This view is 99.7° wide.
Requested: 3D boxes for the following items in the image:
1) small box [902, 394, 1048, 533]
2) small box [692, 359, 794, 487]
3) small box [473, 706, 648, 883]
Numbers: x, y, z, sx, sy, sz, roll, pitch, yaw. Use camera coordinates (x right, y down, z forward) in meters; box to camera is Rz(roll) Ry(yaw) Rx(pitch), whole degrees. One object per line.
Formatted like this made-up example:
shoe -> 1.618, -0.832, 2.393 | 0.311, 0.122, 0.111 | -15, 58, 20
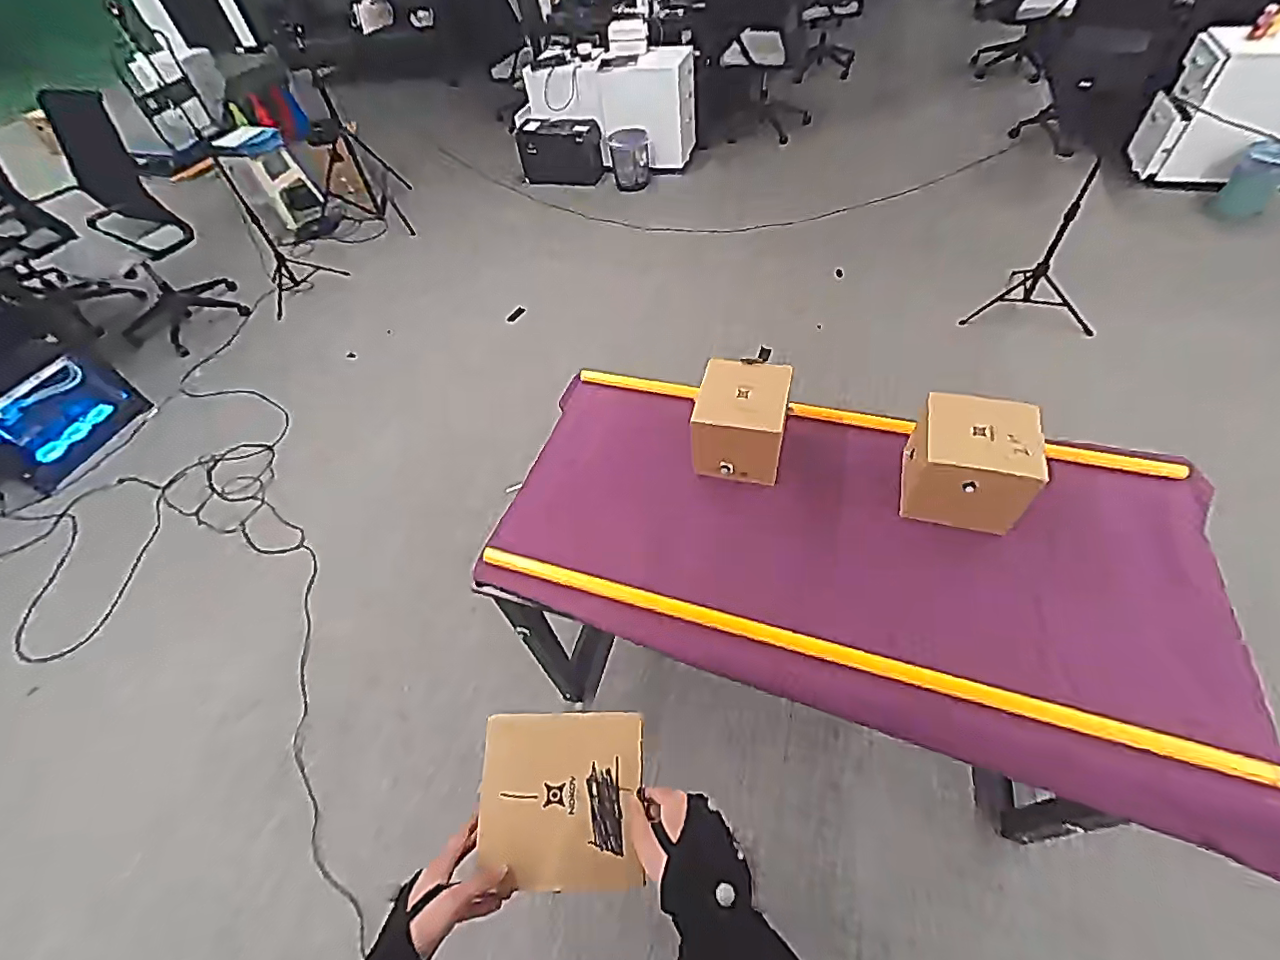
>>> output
small box -> 0.577, -0.027, 0.955 | 0.179, 0.176, 0.168 | 11, 56, 16
small box -> 0.203, -0.112, 1.072 | 0.168, 0.176, 0.179 | 9, 55, 15
small box -> -0.084, 0.364, 0.648 | 0.179, 0.176, 0.168 | 0, 63, -2
